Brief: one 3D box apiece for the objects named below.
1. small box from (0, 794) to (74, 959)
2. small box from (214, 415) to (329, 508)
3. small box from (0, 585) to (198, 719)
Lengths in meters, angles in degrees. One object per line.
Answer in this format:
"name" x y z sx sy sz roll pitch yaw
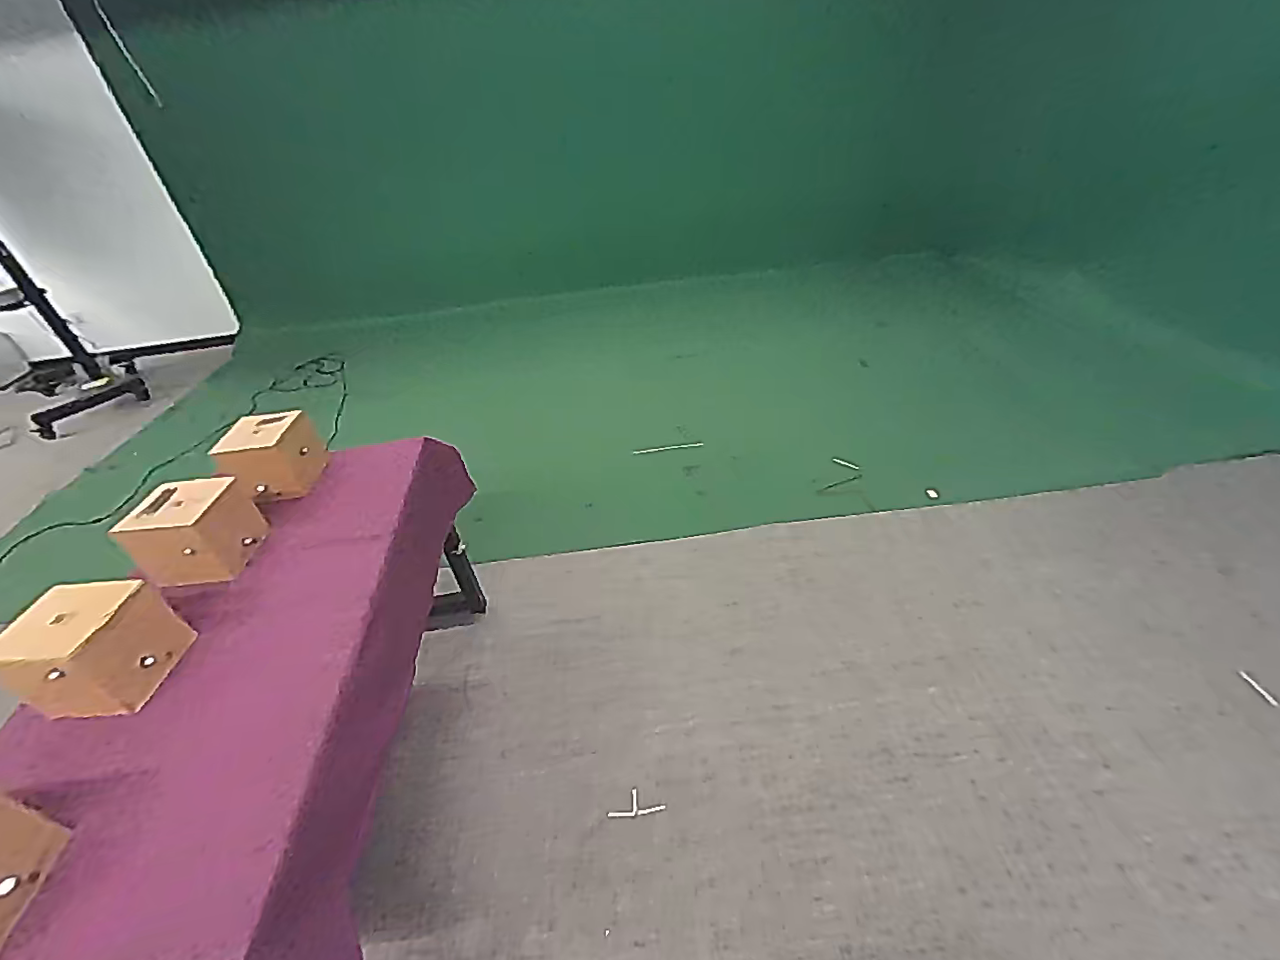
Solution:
"small box" -0.905 0.522 0.677 0.179 0.176 0.168 -9 37 -2
"small box" -0.965 -0.050 1.440 0.168 0.176 0.179 -8 38 0
"small box" -0.969 0.311 0.972 0.179 0.176 0.168 -4 37 3
